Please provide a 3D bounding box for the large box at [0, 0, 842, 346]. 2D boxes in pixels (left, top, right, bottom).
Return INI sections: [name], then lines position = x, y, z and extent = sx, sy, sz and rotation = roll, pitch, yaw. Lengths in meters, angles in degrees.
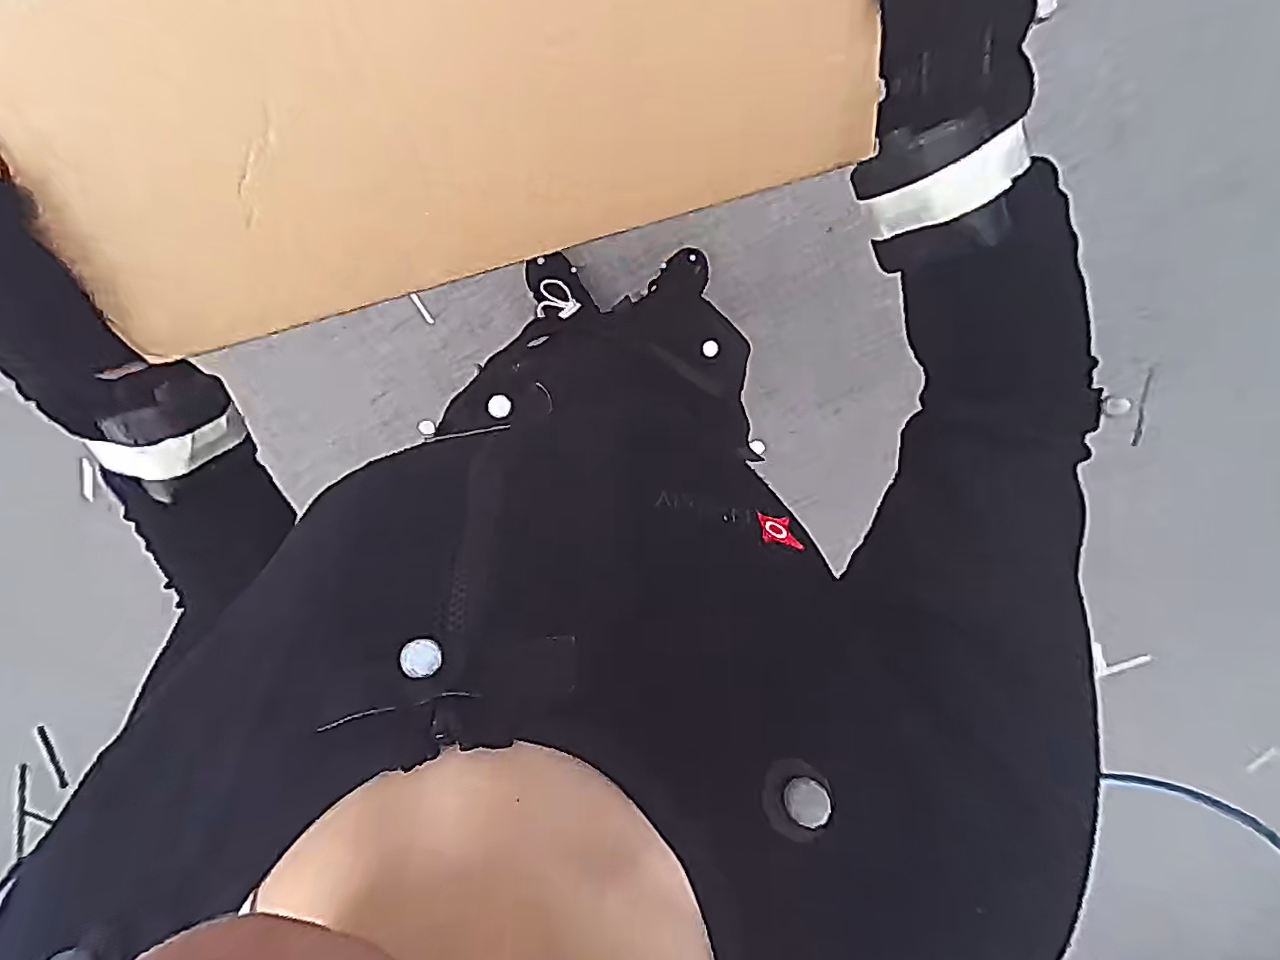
[large box]
position = -0.141, -0.334, 0.298
extent = 0.408, 0.320, 0.320
rotation = -15, 133, 4
